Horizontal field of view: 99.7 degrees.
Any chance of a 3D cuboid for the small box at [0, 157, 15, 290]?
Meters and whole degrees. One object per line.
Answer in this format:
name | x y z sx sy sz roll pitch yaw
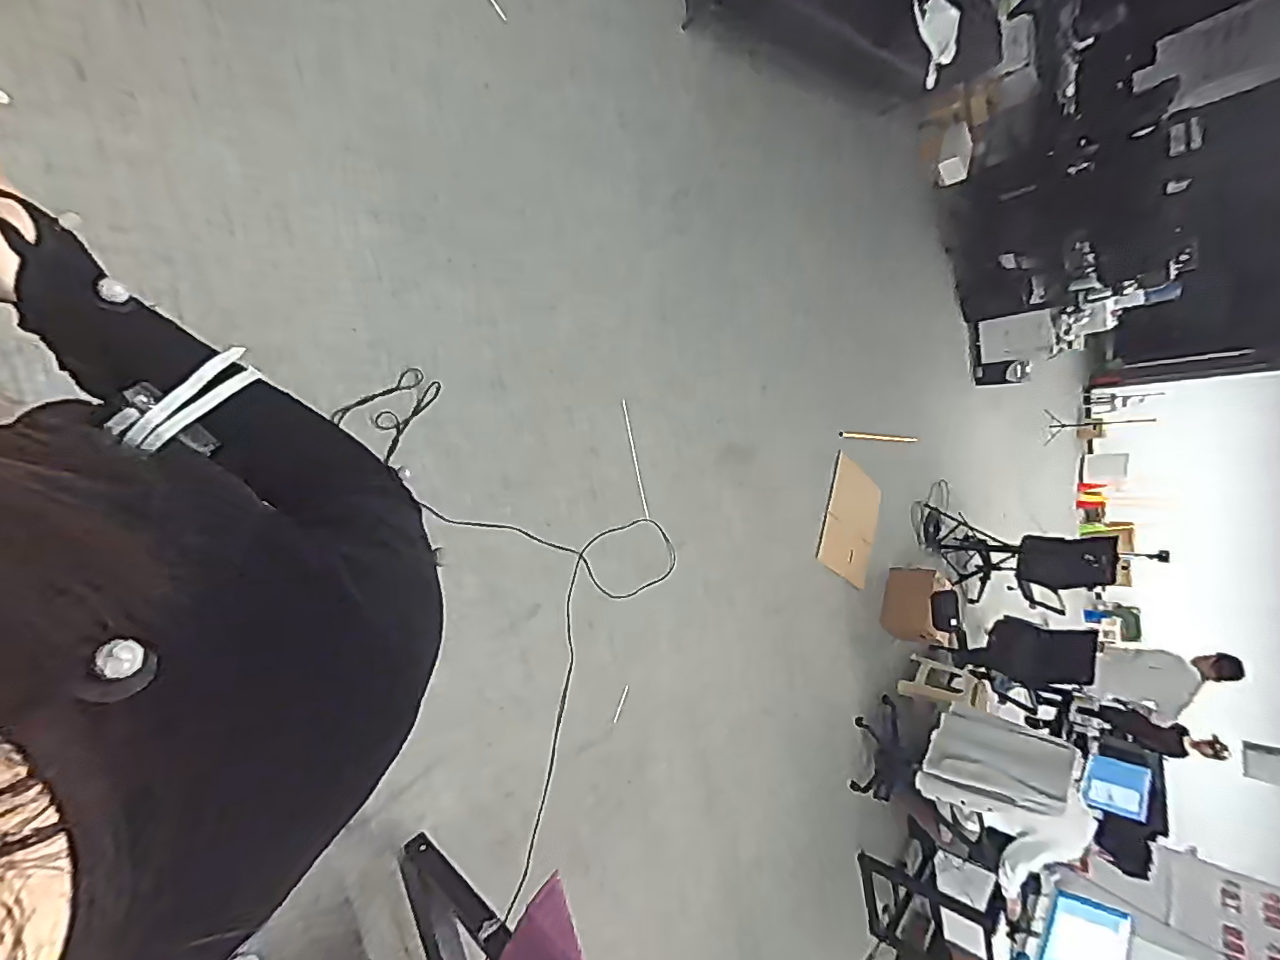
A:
small box | -0.531 -0.231 0.333 0.168 0.176 0.179 -9 98 -43
